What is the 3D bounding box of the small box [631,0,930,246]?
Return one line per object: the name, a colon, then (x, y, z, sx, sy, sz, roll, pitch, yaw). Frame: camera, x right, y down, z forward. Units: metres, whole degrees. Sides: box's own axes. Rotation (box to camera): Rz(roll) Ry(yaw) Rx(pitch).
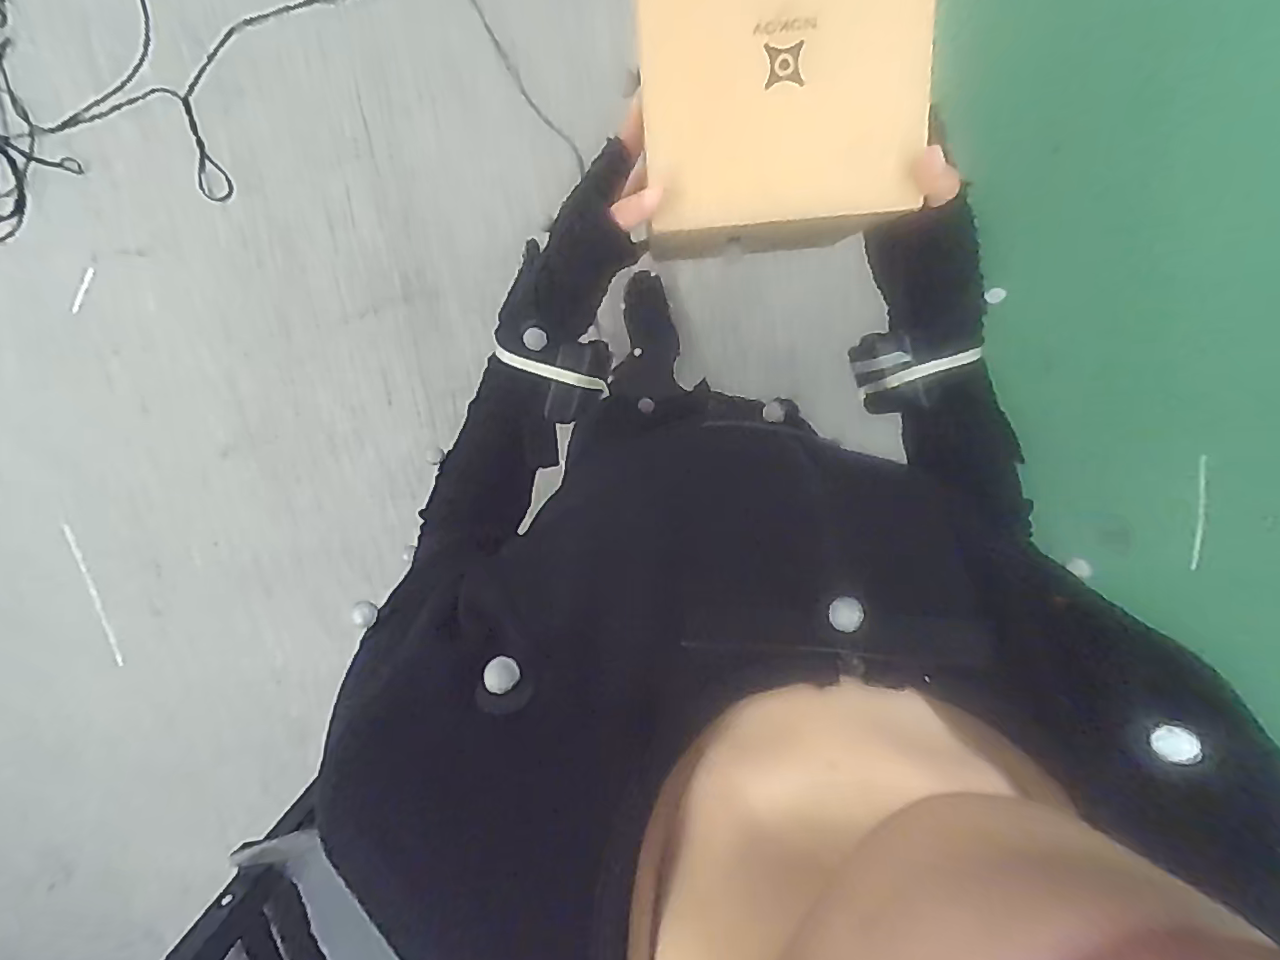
small box: (0.082, -0.271, 0.381, 0.168, 0.176, 0.179, -4, 104, 3)
